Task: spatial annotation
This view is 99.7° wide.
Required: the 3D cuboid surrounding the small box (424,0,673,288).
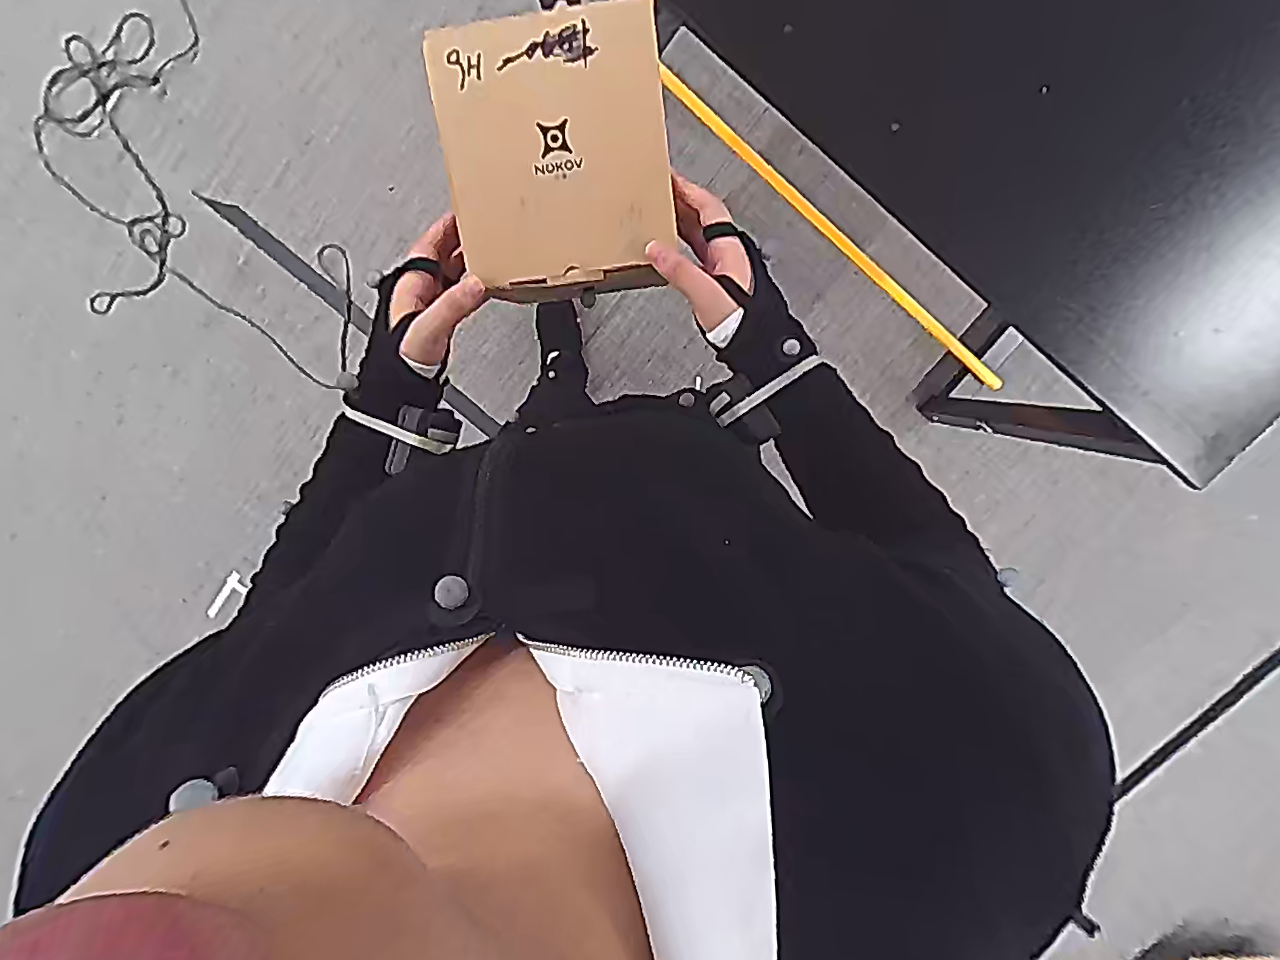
[{"bbox_3d":[-0.061,-0.269,0.476,0.168,0.176,0.179,-6,106,2],"label":"small box"}]
